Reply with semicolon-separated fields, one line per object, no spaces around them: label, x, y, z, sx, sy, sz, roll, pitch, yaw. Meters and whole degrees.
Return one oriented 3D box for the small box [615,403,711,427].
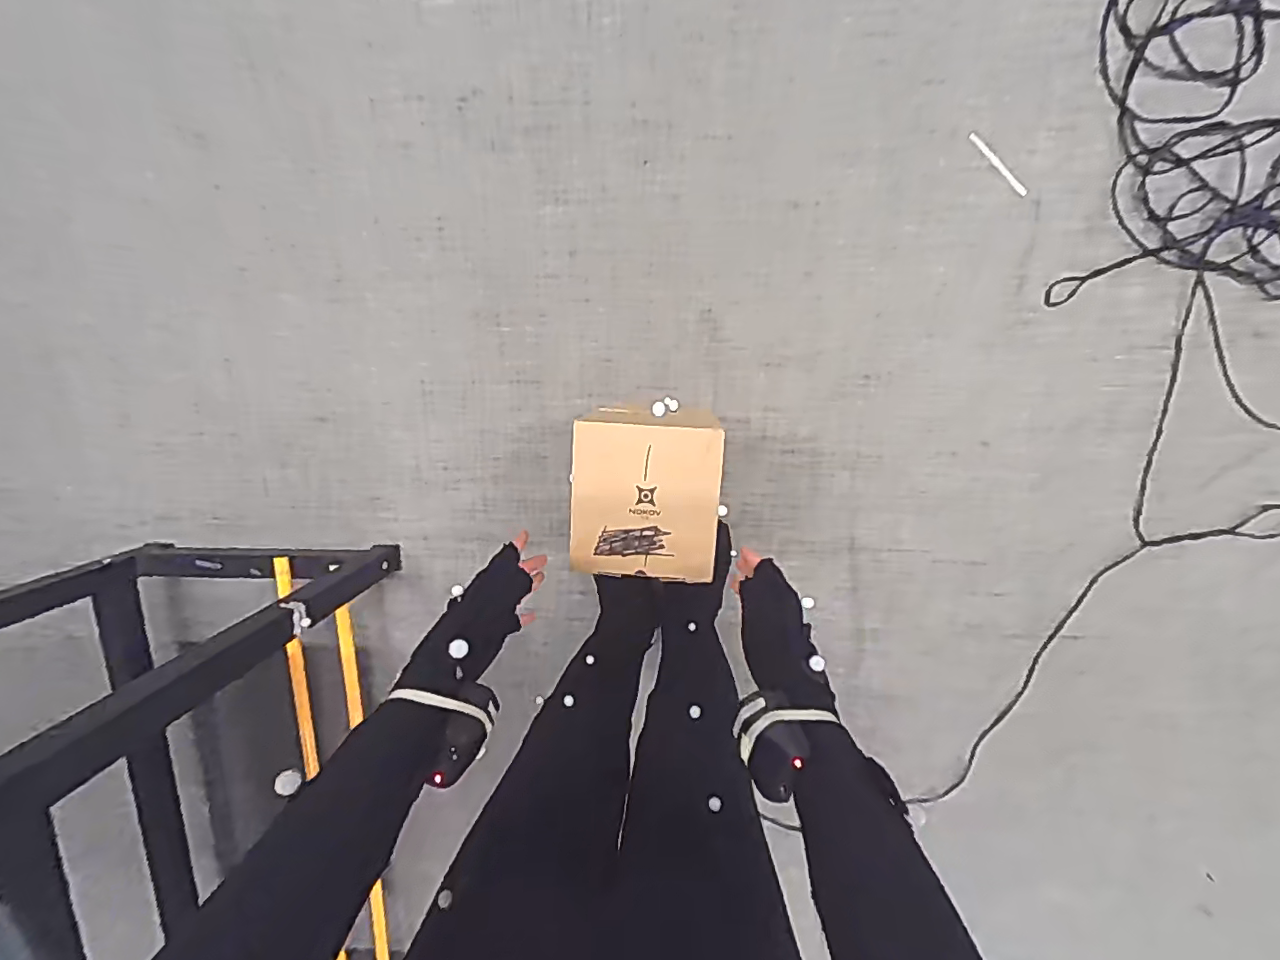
small box;0.035;-0.047;1.001;0.168;0.176;0.179;6;101;4

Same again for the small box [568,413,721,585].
small box;0.009;0.014;0.681;0.168;0.176;0.179;4;101;3
